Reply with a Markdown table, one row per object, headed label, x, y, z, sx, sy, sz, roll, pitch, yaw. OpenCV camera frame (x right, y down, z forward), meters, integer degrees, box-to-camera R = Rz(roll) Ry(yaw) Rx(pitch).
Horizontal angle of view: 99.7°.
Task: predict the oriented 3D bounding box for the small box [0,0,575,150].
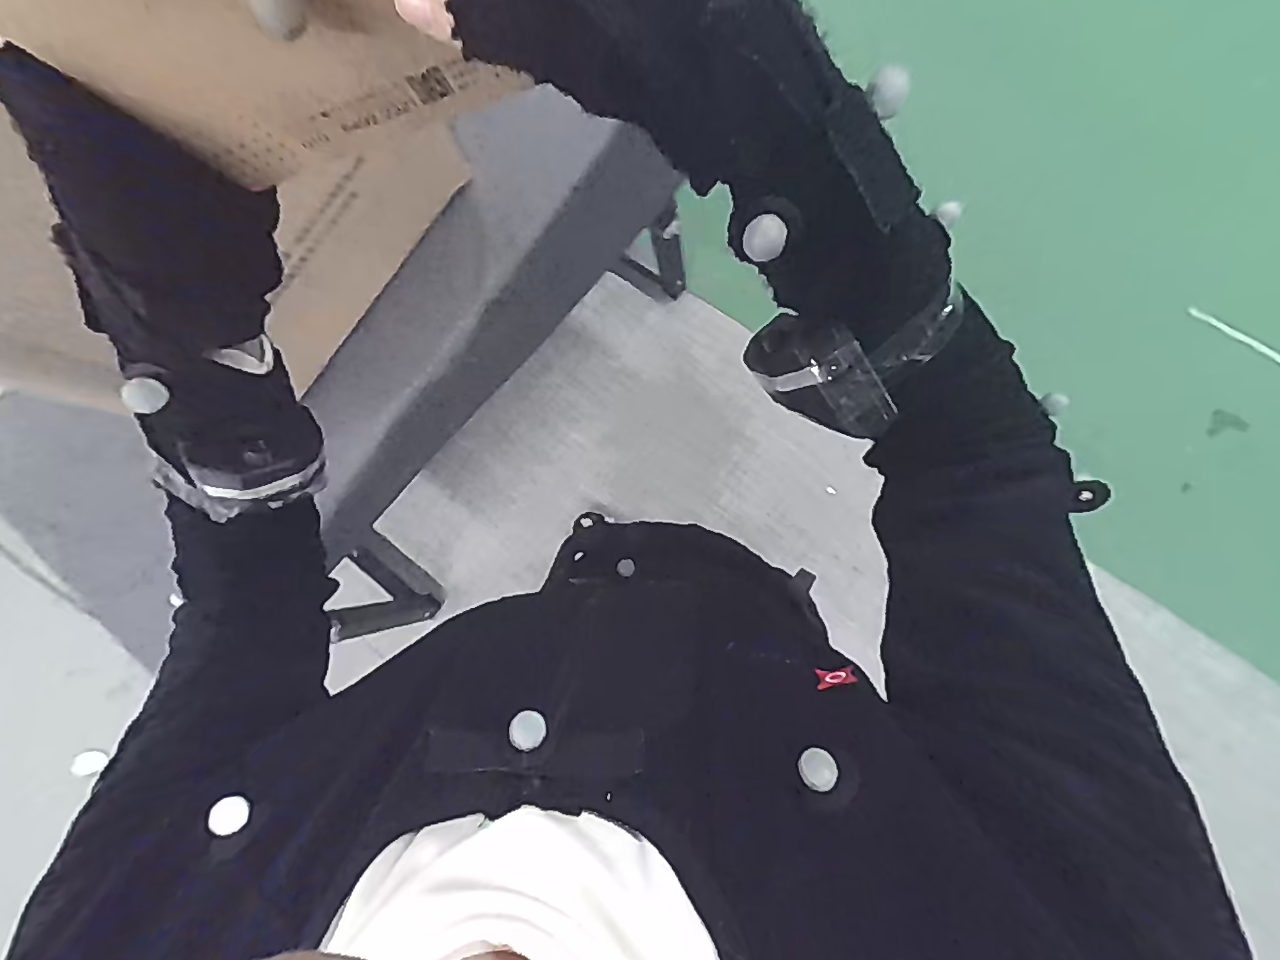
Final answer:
| label | x | y | z | sx | sy | sz | roll | pitch | yaw |
| --- | --- | --- | --- | --- | --- | --- | --- | --- | --- |
| small box | -0.130 | -0.239 | 0.166 | 0.168 | 0.176 | 0.179 | -13 | 88 | 7 |
